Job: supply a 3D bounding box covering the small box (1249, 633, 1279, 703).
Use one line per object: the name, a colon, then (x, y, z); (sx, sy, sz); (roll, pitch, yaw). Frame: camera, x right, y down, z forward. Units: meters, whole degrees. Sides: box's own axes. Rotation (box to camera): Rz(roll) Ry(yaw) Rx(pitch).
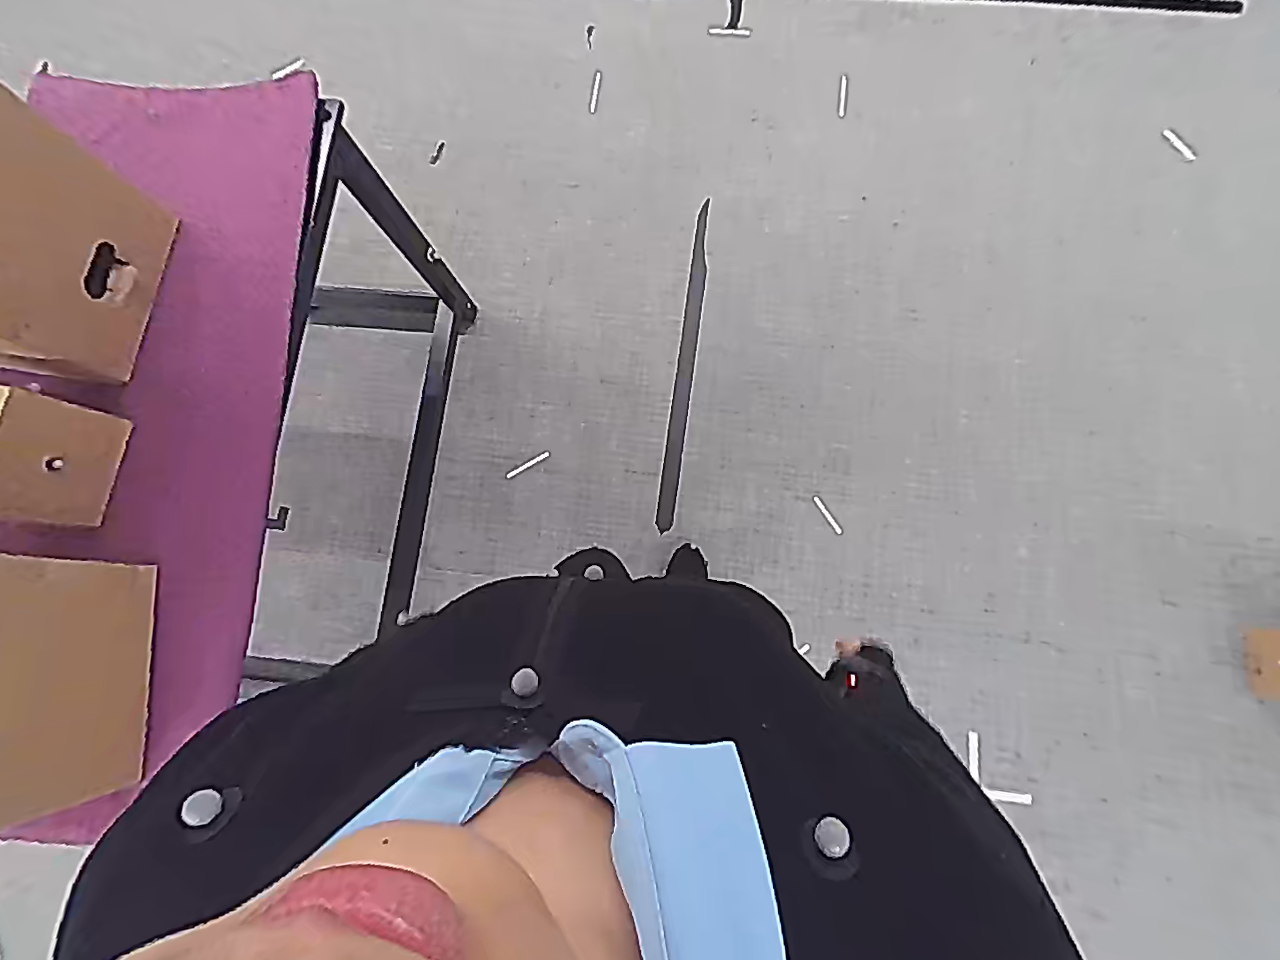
small box: (1.624, 0.461, 1.290); (0.179, 0.176, 0.168); (5, 80, 3)
